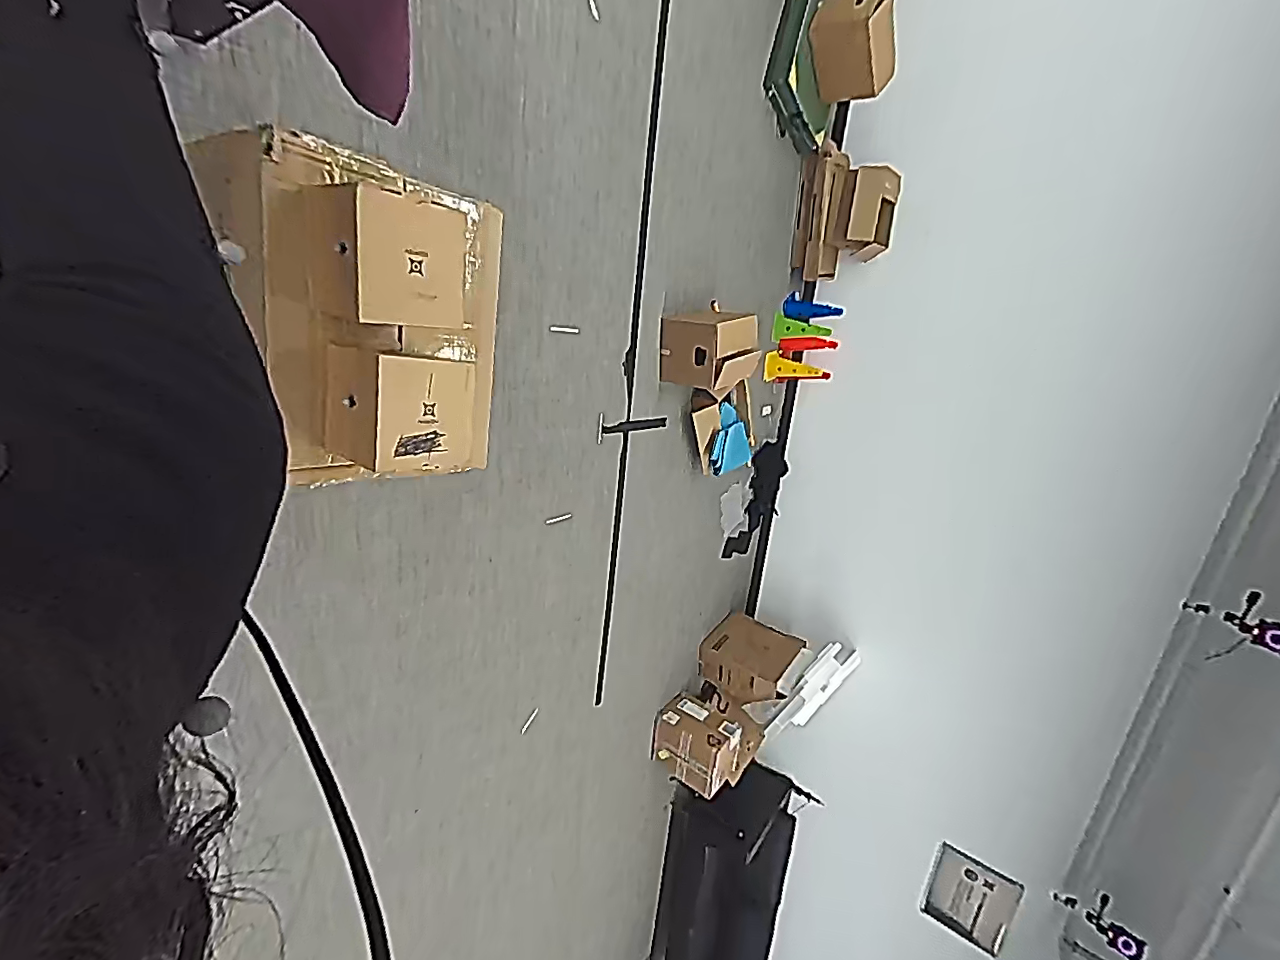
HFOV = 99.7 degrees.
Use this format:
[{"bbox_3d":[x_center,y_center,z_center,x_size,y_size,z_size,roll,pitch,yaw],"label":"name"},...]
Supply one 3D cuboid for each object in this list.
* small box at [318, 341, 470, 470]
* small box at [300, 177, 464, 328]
[{"bbox_3d":[-0.403,-0.123,0.883,0.168,0.176,0.179,-8,109,-53],"label":"small box"},{"bbox_3d":[-0.388,-0.333,0.811,0.168,0.176,0.179,-12,116,-51],"label":"small box"}]
